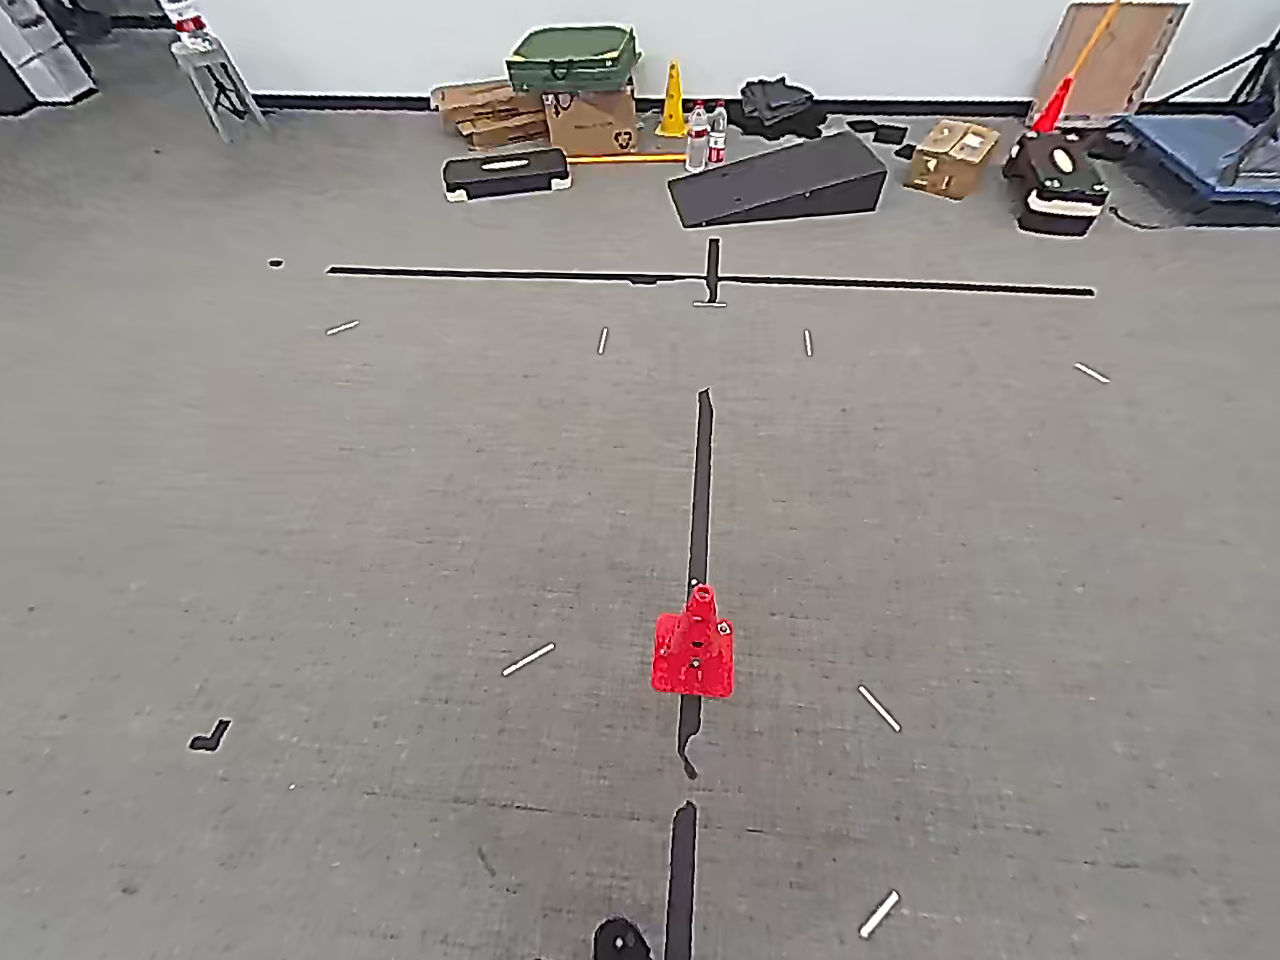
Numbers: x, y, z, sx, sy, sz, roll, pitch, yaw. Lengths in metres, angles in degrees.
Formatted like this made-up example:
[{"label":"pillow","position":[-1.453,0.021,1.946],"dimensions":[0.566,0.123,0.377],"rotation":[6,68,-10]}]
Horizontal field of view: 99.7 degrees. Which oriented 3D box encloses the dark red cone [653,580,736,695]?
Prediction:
[{"label":"dark red cone","position":[0.130,0.325,1.207],"dimensions":[0.201,0.394,0.202],"rotation":[3,53,5]}]
